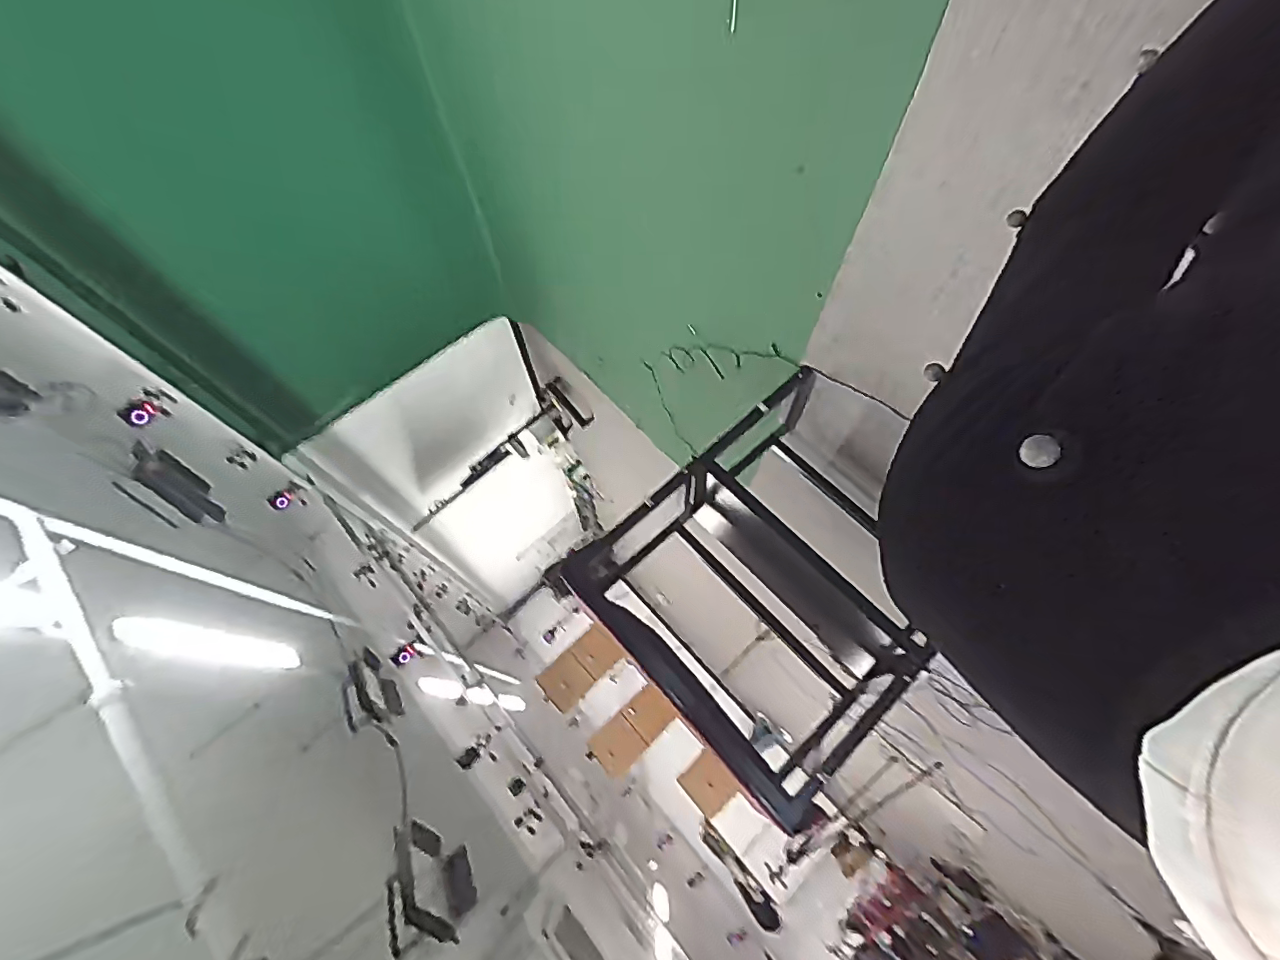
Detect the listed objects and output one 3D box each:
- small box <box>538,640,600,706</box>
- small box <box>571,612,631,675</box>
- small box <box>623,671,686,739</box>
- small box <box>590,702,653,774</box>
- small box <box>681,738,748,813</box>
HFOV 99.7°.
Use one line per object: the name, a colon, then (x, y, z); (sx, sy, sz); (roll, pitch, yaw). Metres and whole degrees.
small box: (-0.269, 0.759, 2.126); (0.179, 0.176, 0.168); (43, 163, 16)
small box: (-0.149, 0.655, 2.166); (0.179, 0.176, 0.168); (45, 165, 15)
small box: (0.060, 0.861, 2.073); (0.179, 0.176, 0.168); (45, 165, 20)
small box: (-0.062, 0.965, 2.035); (0.179, 0.176, 0.168); (45, 165, 19)
small box: (0.266, 1.063, 1.962); (0.179, 0.176, 0.168); (43, 165, 21)
